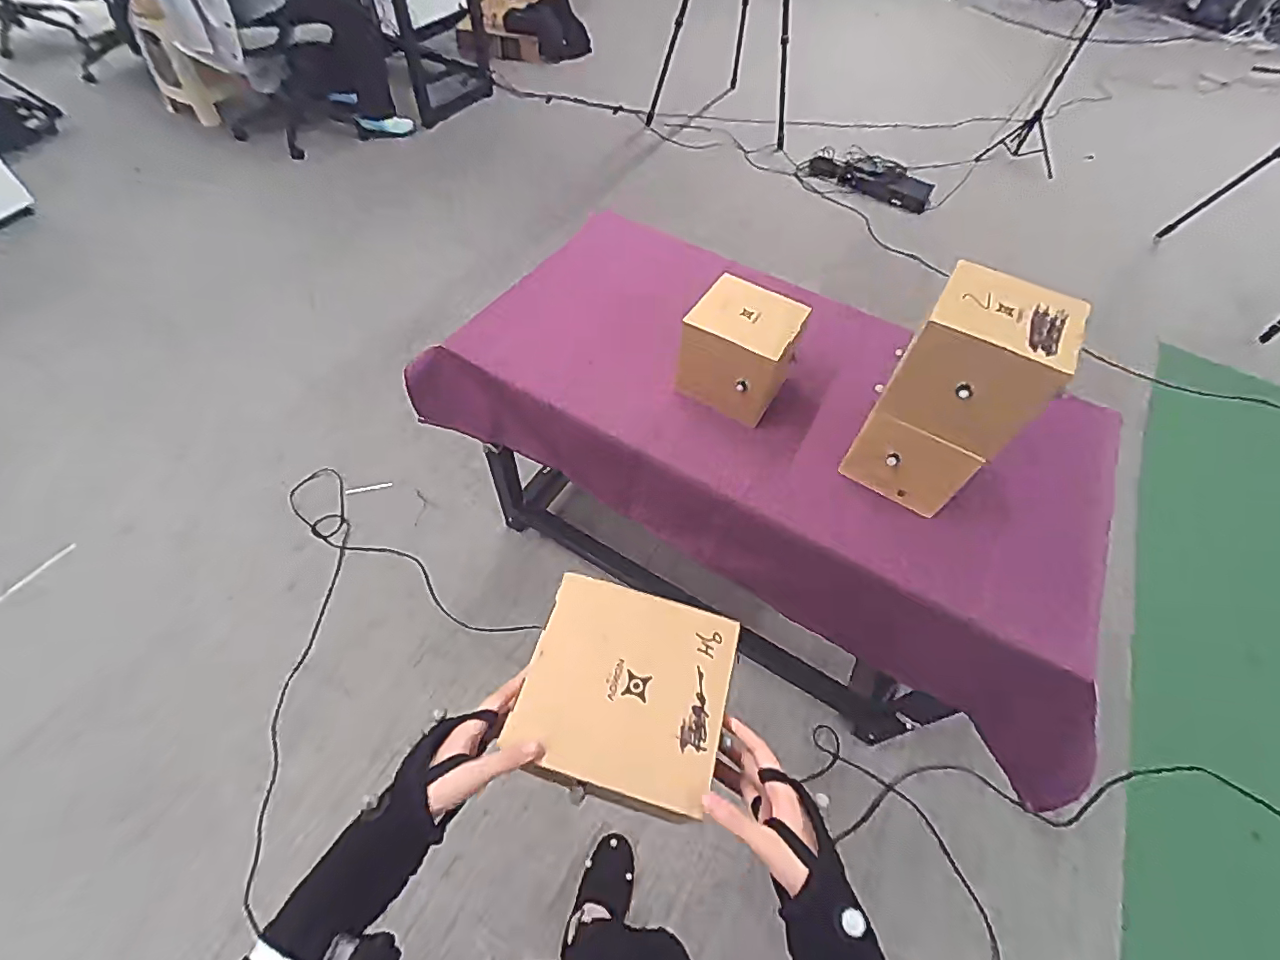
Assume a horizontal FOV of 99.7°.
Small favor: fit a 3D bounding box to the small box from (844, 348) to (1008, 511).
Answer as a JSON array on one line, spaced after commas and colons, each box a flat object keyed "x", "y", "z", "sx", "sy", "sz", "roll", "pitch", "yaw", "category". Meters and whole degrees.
[{"x": 0.464, "y": -0.080, "z": 0.900, "sx": 0.168, "sy": 0.176, "sz": 0.179, "roll": 30, "pitch": 58, "yaw": 16, "category": "small box"}]

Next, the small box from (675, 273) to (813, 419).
[{"x": 0.182, "y": -0.237, "z": 0.987, "sx": 0.179, "sy": 0.176, "sz": 0.168, "roll": 29, "pitch": 57, "yaw": 15, "category": "small box"}]
